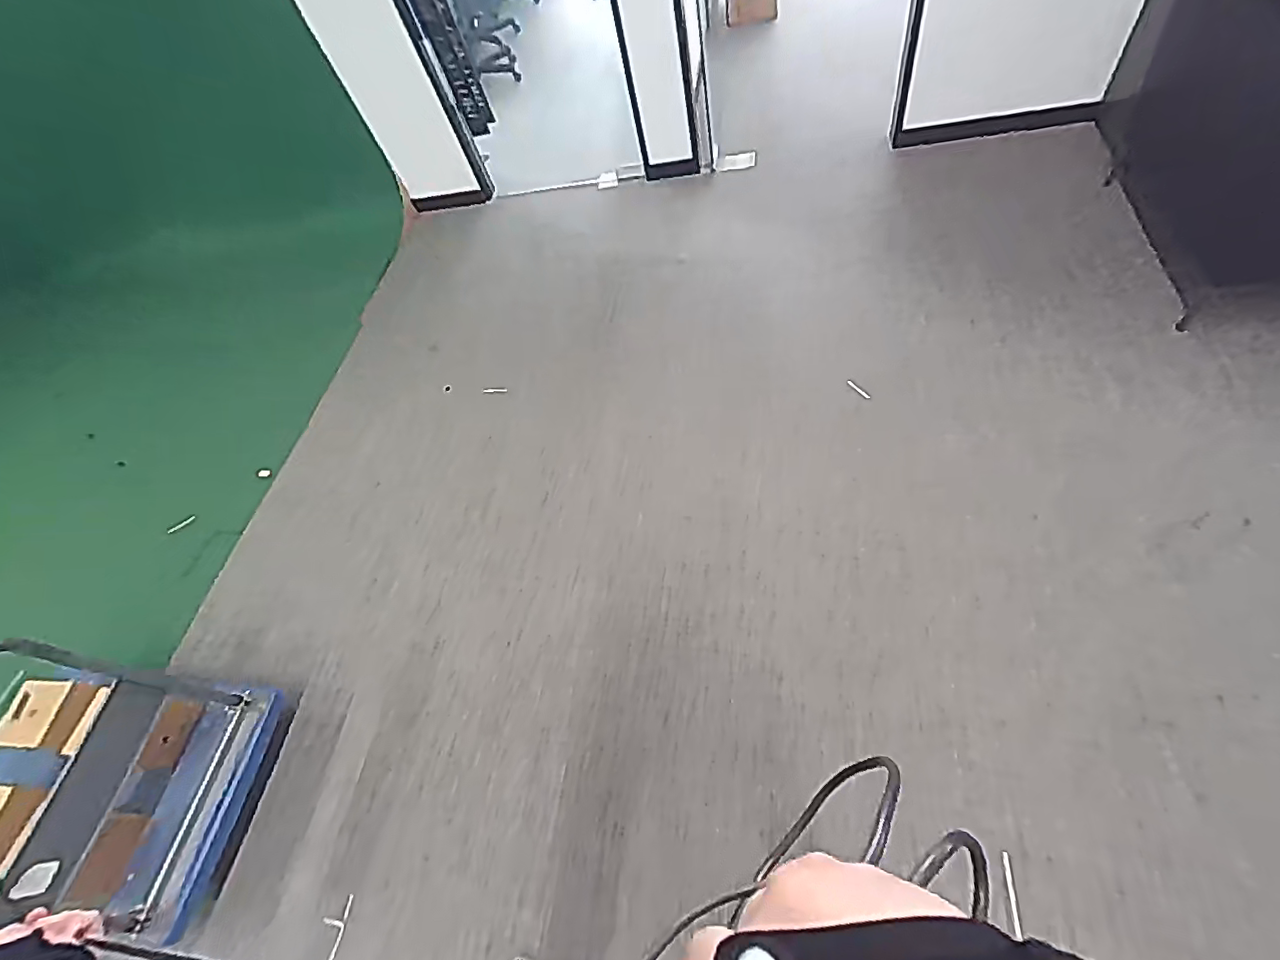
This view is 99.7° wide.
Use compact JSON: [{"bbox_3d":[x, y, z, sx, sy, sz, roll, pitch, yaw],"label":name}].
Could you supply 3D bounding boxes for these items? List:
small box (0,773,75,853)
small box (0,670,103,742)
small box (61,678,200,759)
[{"bbox_3d":[-1.645,0.856,1.394,0.179,0.176,0.168,-2,57,12],"label":"small box"},{"bbox_3d":[-1.628,0.642,1.525,0.179,0.176,0.168,-1,59,11],"label":"small box"},{"bbox_3d":[-1.365,0.648,1.462,0.179,0.176,0.168,2,59,13],"label":"small box"}]
